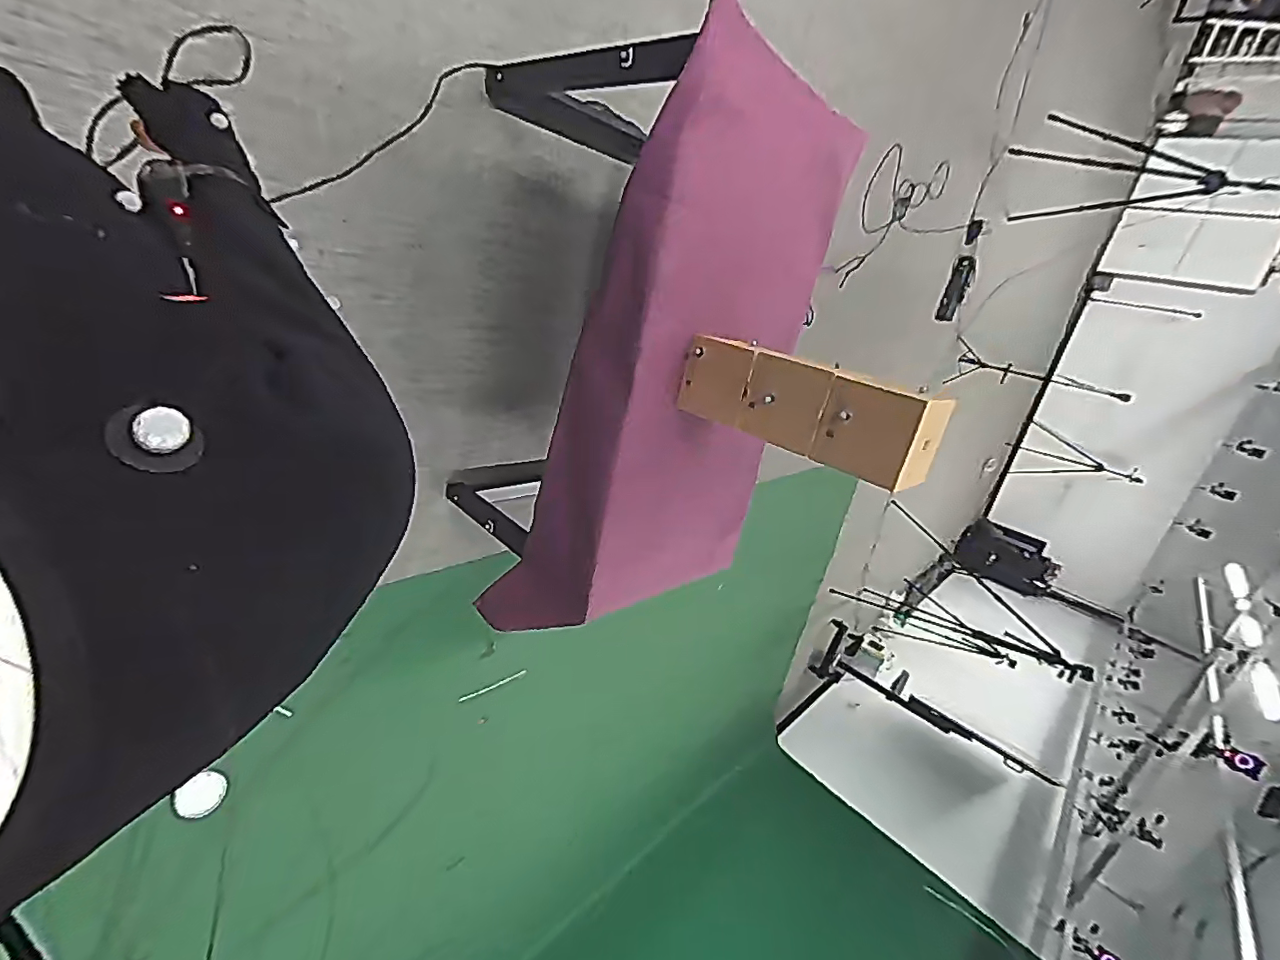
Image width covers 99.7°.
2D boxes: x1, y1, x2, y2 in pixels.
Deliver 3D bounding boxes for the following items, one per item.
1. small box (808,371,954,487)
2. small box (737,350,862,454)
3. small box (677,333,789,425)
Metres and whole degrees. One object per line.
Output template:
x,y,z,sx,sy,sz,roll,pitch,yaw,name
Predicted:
0.445,-0.100,1.007,0.179,0.176,0.168,-8,118,-46,small box
0.328,-0.163,1.103,0.179,0.176,0.168,-8,118,-46,small box
0.208,-0.223,1.198,0.179,0.176,0.168,-8,118,-47,small box
